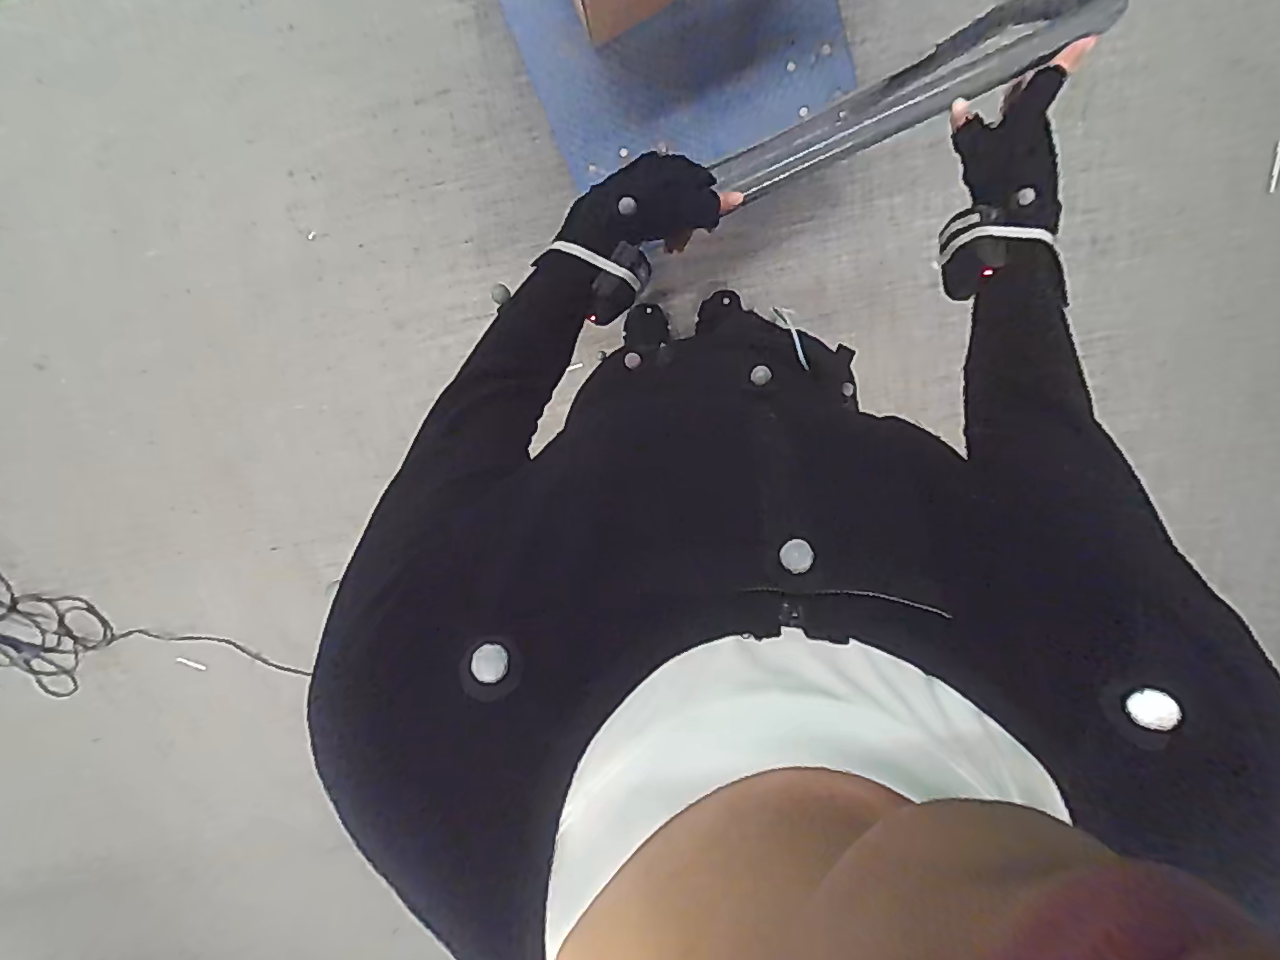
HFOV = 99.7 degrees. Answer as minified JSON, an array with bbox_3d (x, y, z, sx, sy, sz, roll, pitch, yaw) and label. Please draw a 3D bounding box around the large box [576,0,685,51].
[{"bbox_3d":[0.032,-0.971,0.816,0.408,0.320,0.320,-25,108,10],"label":"large box"}]
